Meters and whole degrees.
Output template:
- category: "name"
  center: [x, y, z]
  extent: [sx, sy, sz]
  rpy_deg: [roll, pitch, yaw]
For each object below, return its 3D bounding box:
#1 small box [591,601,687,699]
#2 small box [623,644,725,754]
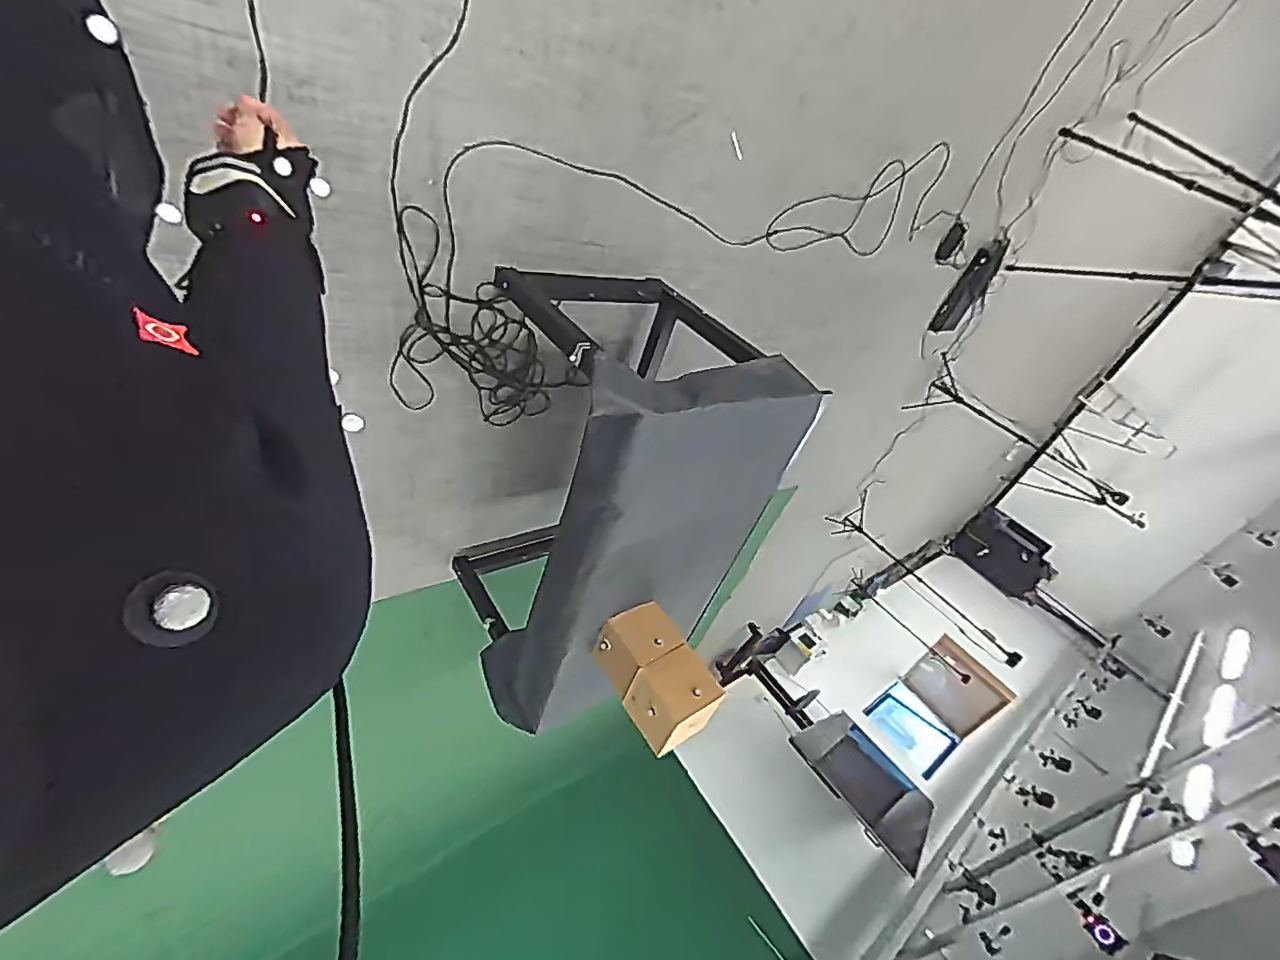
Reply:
- category: "small box"
  center: [-0.007, 0.464, 1.503]
  extent: [0.179, 0.176, 0.168]
  rpy_deg: [-11, 135, -39]
- category: "small box"
  center: [0.081, 0.563, 1.408]
  extent: [0.179, 0.176, 0.168]
  rpy_deg: [-13, 137, -39]
